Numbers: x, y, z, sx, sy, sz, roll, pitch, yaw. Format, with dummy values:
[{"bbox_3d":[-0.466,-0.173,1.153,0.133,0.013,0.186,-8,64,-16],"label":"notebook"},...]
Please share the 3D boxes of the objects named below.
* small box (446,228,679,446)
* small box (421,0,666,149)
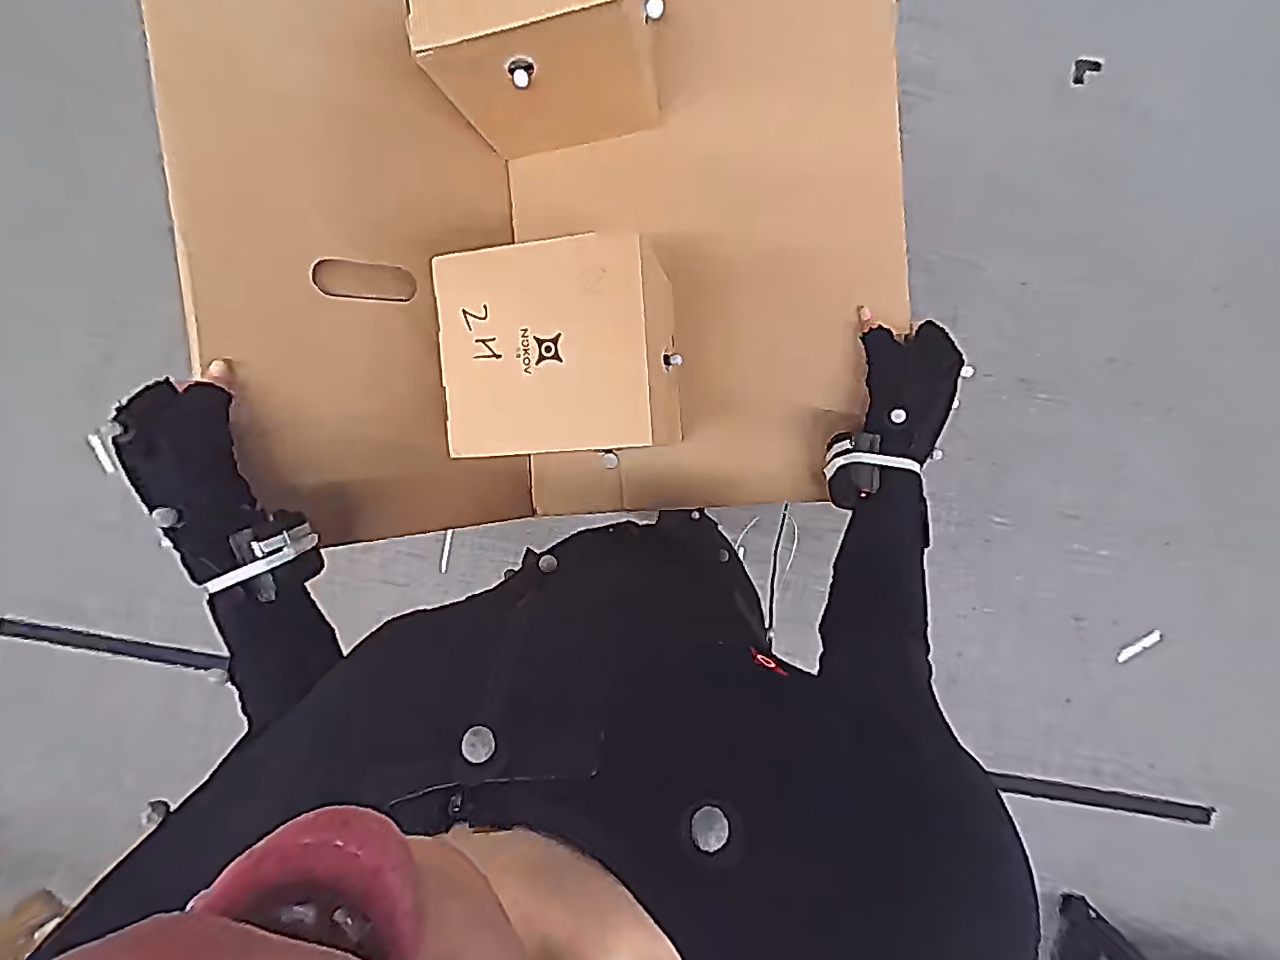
[{"bbox_3d":[-0.057,-0.119,0.515,0.179,0.176,0.168,-1,94,13],"label":"small box"},{"bbox_3d":[-0.079,-0.437,0.494,0.179,0.176,0.168,-4,94,12],"label":"small box"}]
